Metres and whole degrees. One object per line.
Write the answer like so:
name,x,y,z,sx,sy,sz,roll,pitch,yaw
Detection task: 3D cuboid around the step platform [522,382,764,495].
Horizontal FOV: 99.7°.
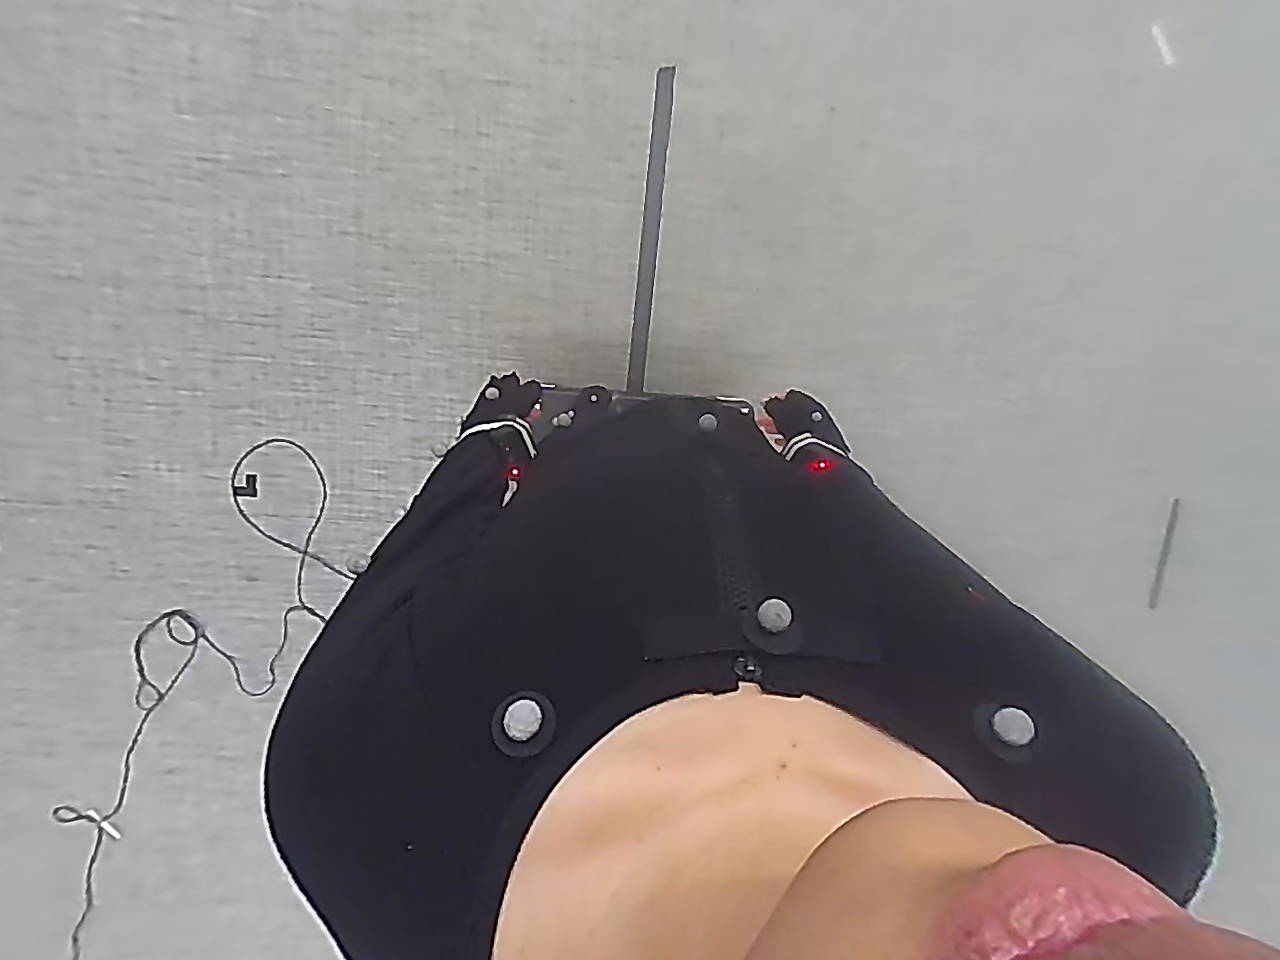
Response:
step platform,0.009,-0.120,1.560,0.684,0.204,0.286,3,101,-5
